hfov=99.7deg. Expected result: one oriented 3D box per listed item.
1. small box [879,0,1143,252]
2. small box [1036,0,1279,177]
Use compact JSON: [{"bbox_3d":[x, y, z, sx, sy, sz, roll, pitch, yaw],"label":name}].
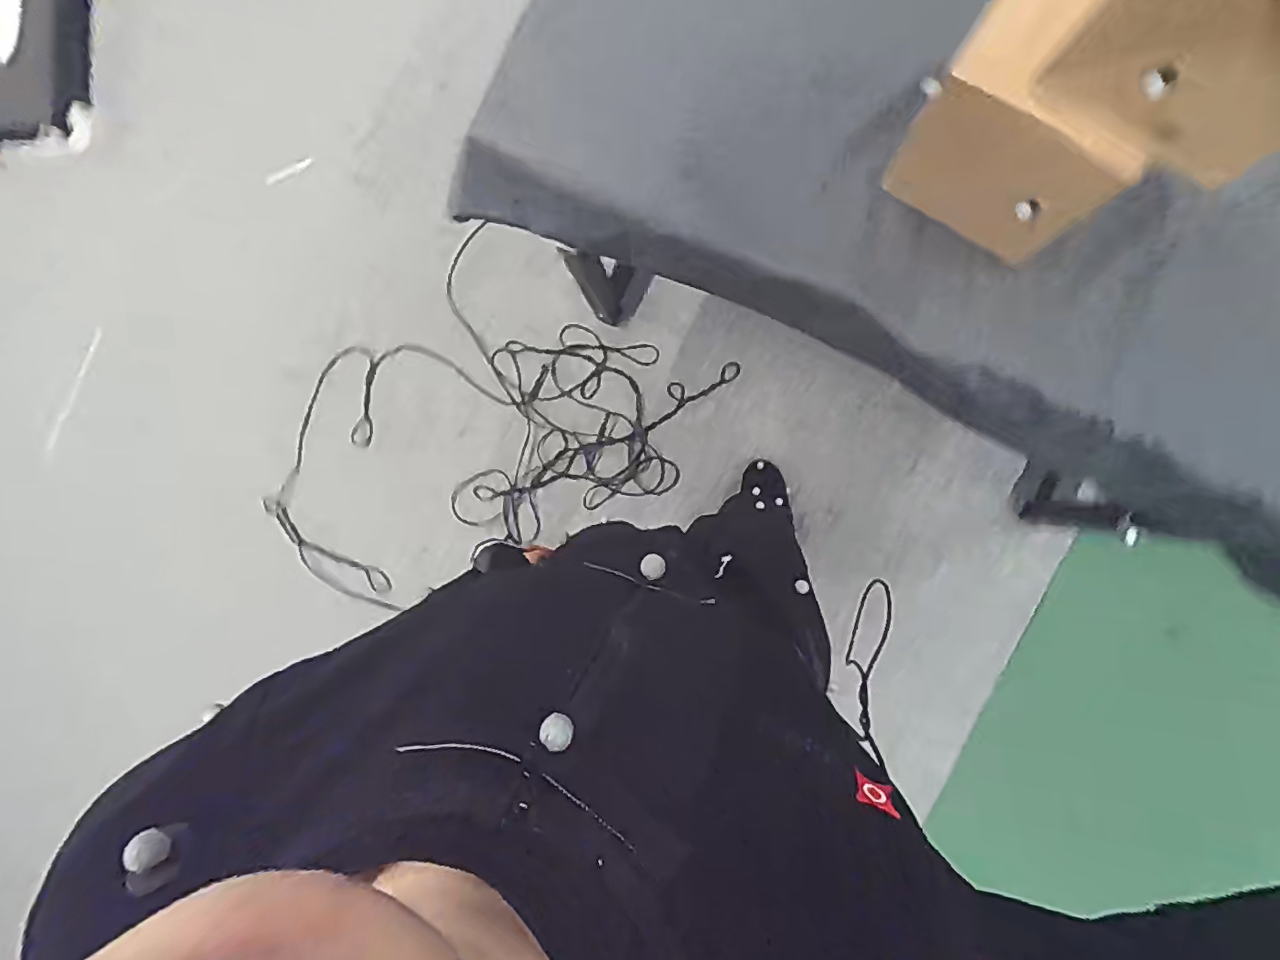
[{"bbox_3d":[0.372,-0.352,0.521,0.179,0.176,0.168,33,90,6],"label":"small box"},{"bbox_3d":[0.418,-0.352,0.355,0.168,0.176,0.179,32,91,5],"label":"small box"}]
